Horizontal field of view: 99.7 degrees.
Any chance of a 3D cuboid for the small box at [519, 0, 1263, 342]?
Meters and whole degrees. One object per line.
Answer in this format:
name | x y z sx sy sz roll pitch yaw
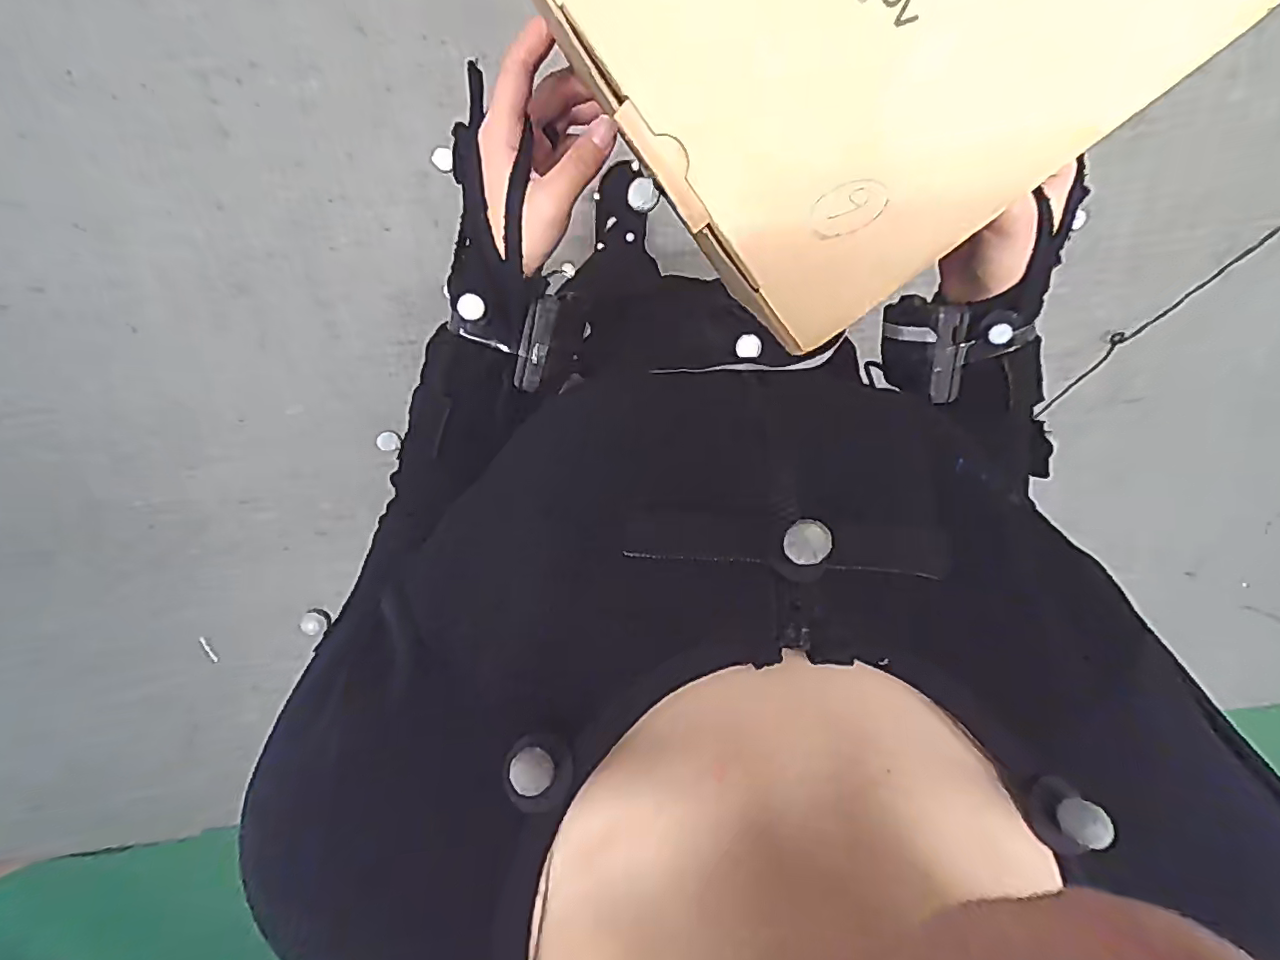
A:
small box | 0.072 -0.188 0.223 0.179 0.176 0.168 -36 109 18
